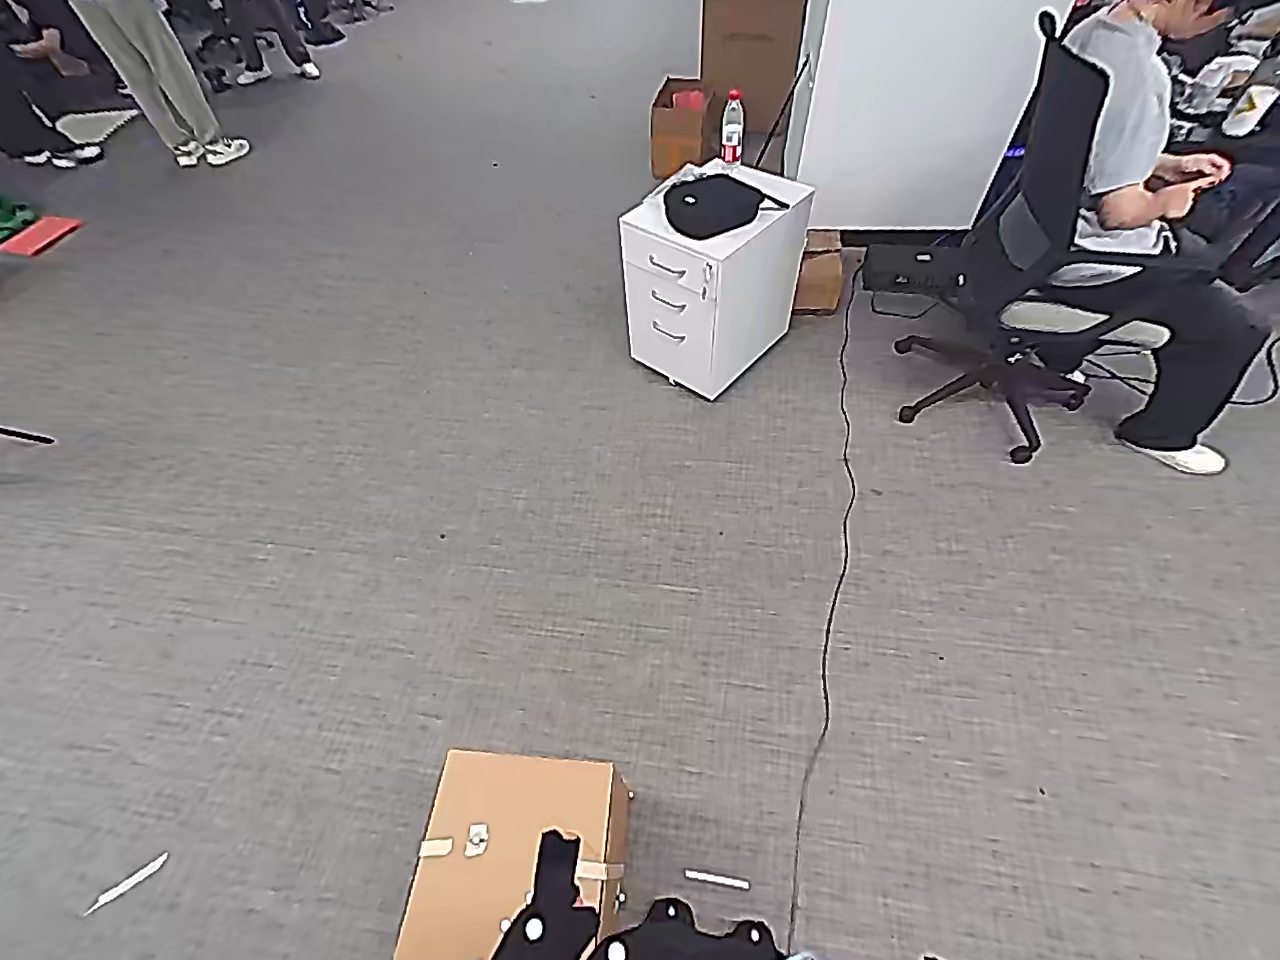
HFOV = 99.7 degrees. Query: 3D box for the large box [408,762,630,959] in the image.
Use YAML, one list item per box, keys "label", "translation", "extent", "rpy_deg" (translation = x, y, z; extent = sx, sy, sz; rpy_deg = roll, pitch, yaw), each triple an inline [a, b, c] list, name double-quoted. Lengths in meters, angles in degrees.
- label: "large box"
  translation: [-0.196, 0.752, 1.052]
  extent: [0.320, 0.408, 0.320]
  rpy_deg: [3, 55, 5]
